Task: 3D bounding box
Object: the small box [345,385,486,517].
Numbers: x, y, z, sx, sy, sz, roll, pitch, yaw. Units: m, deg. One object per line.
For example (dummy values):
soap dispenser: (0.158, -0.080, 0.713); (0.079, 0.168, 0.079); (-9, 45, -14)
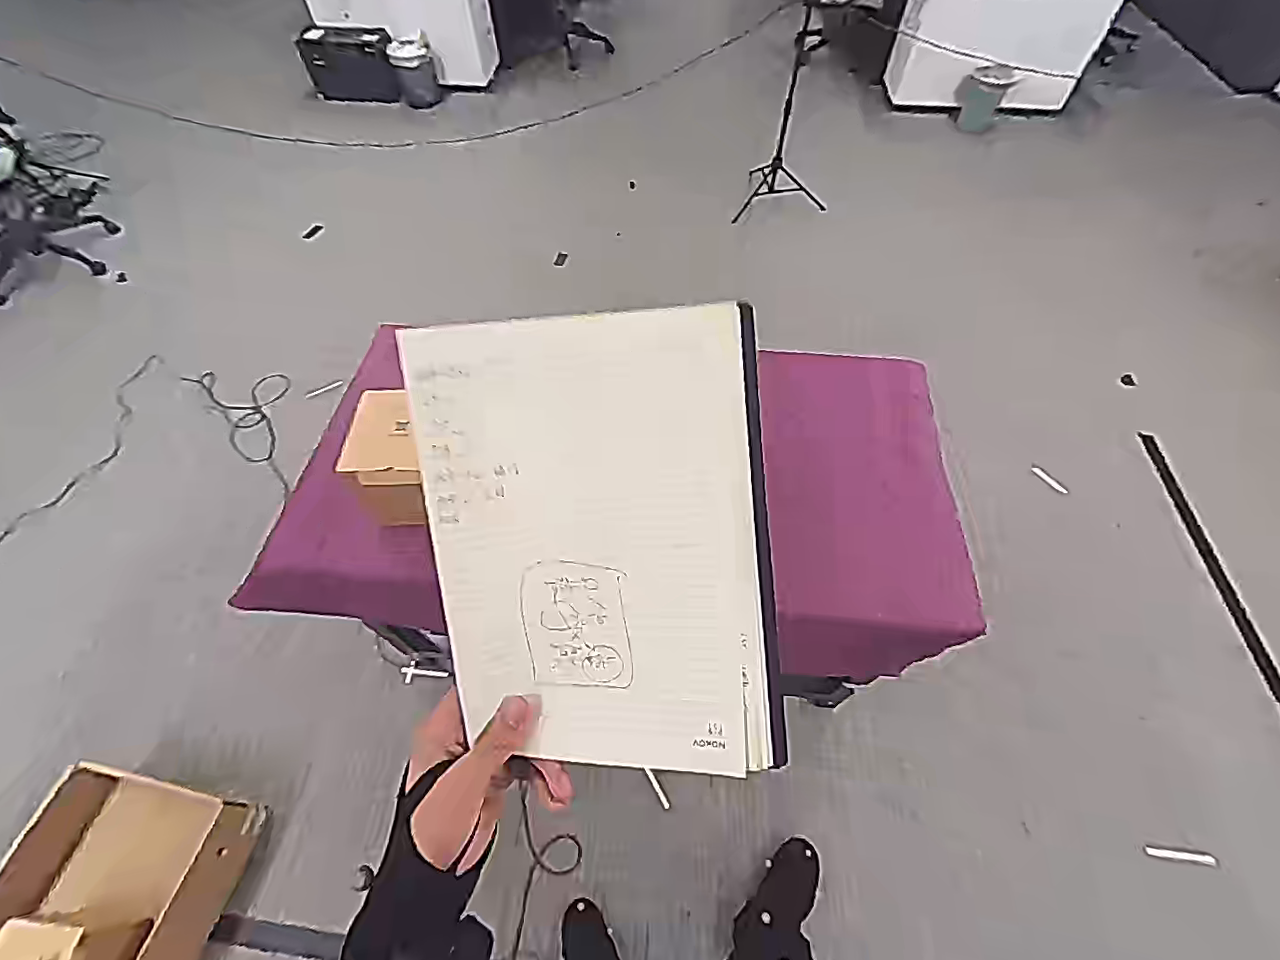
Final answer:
small box: (-0.379, -0.046, 0.950); (0.168, 0.176, 0.179); (-1, 56, -1)
